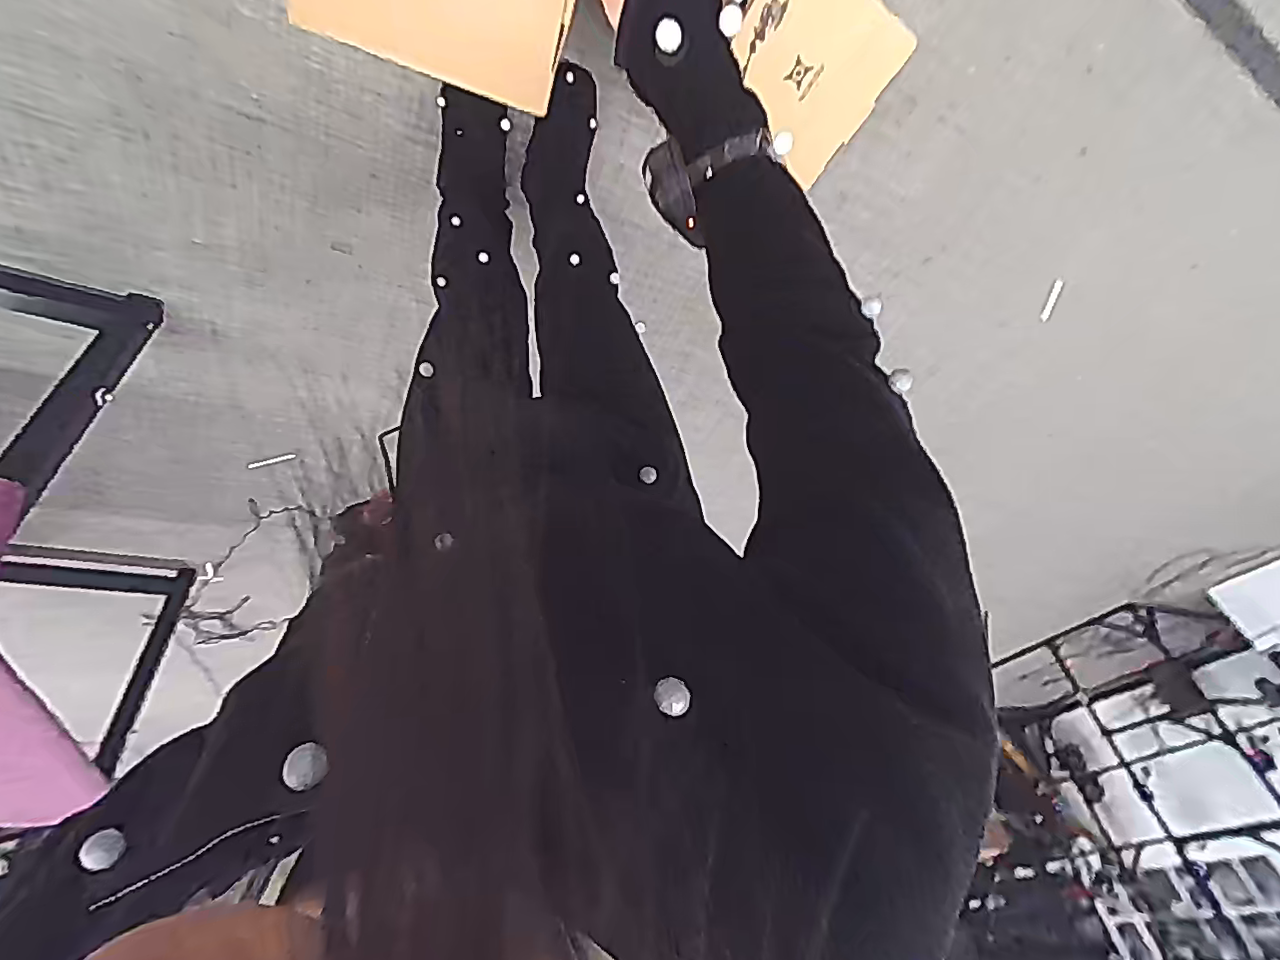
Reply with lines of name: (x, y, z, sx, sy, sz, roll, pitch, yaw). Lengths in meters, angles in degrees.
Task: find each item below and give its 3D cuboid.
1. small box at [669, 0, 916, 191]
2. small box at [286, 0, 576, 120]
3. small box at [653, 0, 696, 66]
small box: (0.156, -0.472, 0.602, 0.179, 0.176, 0.168, 14, 136, -30)
small box: (-0.135, -0.398, 0.383, 0.179, 0.176, 0.168, 8, 135, -21)
small box: (0.134, -0.602, 0.700, 0.179, 0.176, 0.168, 12, 138, -27)
